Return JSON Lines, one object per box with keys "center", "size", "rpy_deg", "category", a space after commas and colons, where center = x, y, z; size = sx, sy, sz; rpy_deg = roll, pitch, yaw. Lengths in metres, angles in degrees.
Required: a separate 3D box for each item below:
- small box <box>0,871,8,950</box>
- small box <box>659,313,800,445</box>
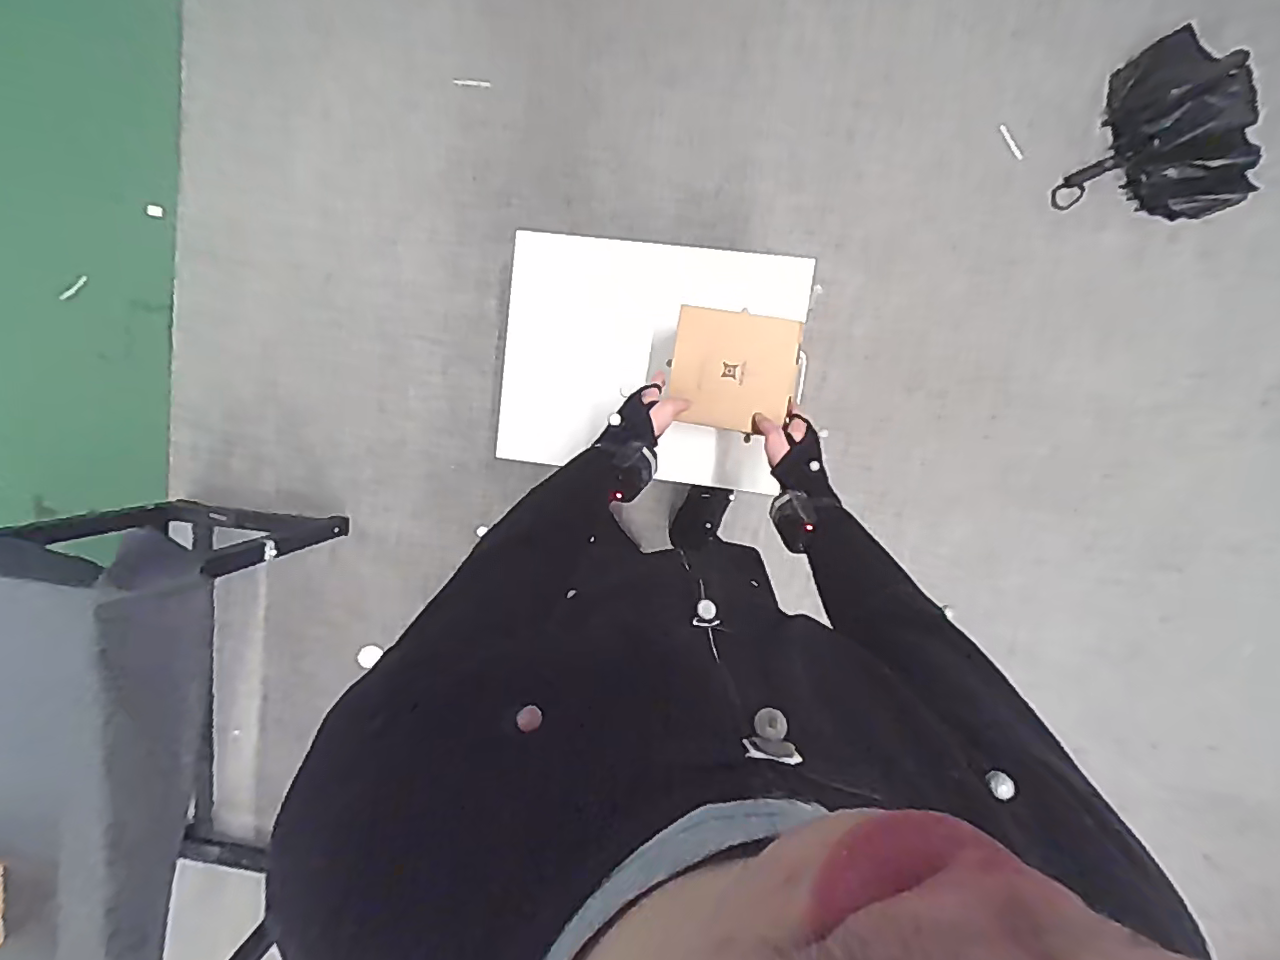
{"center": [-1.302, 0.821, 0.966], "size": [0.168, 0.176, 0.179], "rpy_deg": [7, 96, 5], "category": "small box"}
{"center": [0.134, -0.150, 0.839], "size": [0.179, 0.176, 0.168], "rpy_deg": [9, 96, 7], "category": "small box"}
